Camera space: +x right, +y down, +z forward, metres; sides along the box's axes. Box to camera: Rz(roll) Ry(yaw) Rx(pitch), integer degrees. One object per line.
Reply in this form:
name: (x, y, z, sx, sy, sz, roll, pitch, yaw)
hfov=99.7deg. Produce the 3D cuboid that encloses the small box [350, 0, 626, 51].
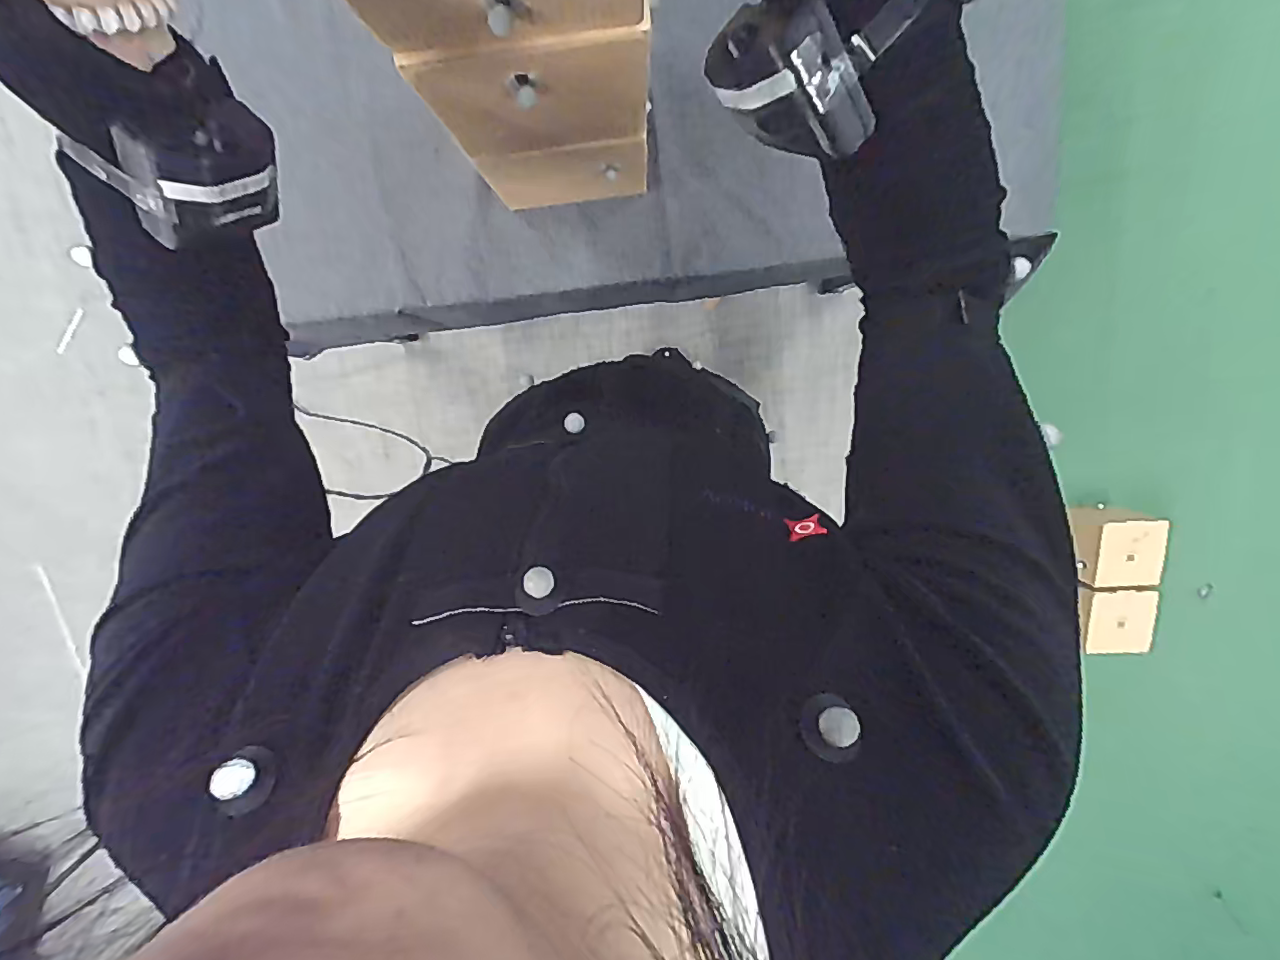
small box: (-0.090, -0.355, 0.267, 0.179, 0.176, 0.168, -5, 101, 1)

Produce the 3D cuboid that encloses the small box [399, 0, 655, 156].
small box: (-0.086, -0.384, 0.429, 0.179, 0.176, 0.168, -7, 102, 2)
